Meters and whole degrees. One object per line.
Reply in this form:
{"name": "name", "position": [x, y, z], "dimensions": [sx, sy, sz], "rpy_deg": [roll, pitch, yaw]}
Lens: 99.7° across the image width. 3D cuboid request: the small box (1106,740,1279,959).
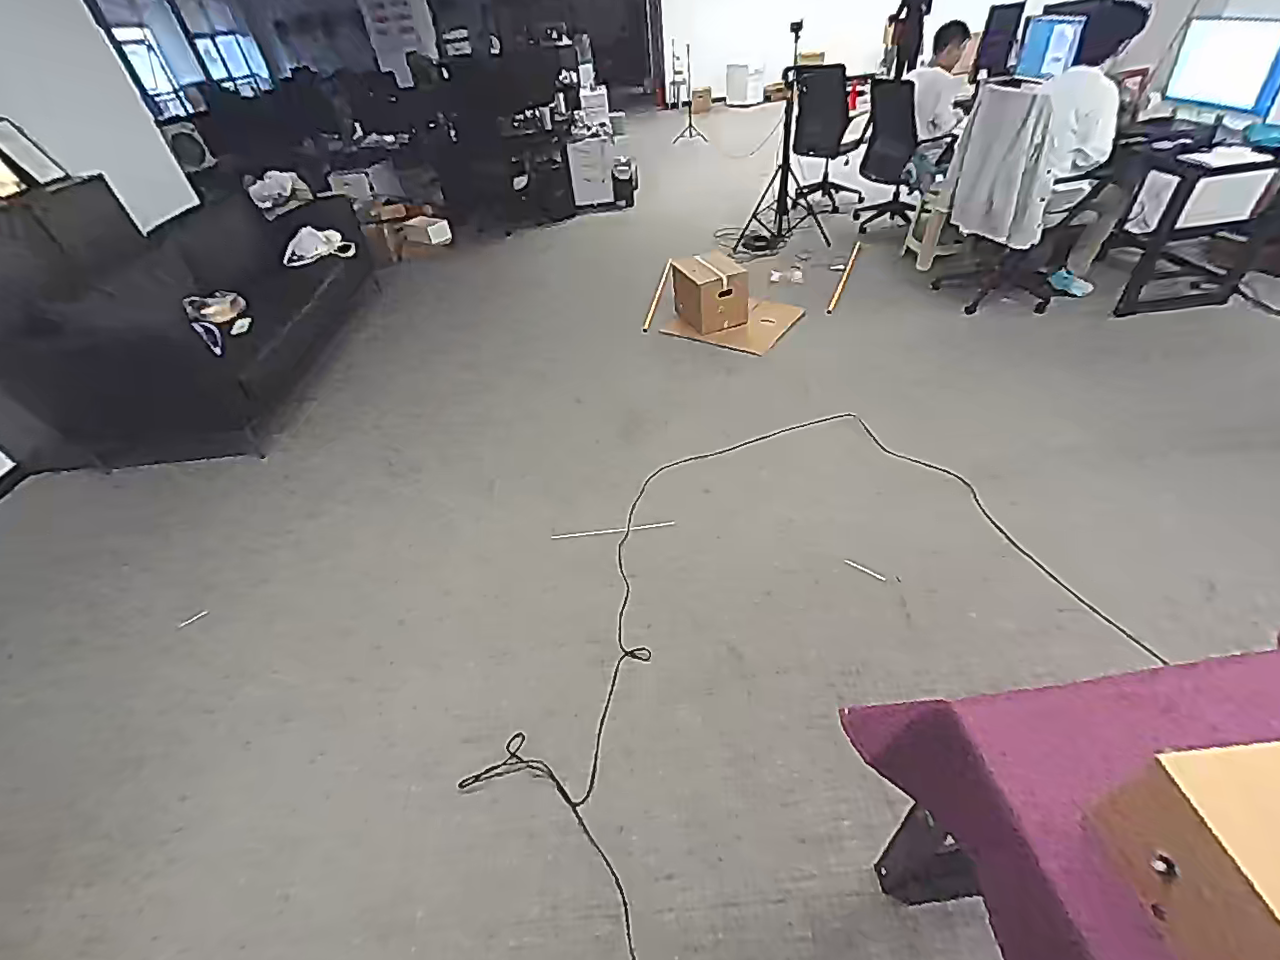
{"name": "small box", "position": [0.621, 0.380, 0.537], "dimensions": [0.179, 0.176, 0.168], "rpy_deg": [-6, 42, 1]}
